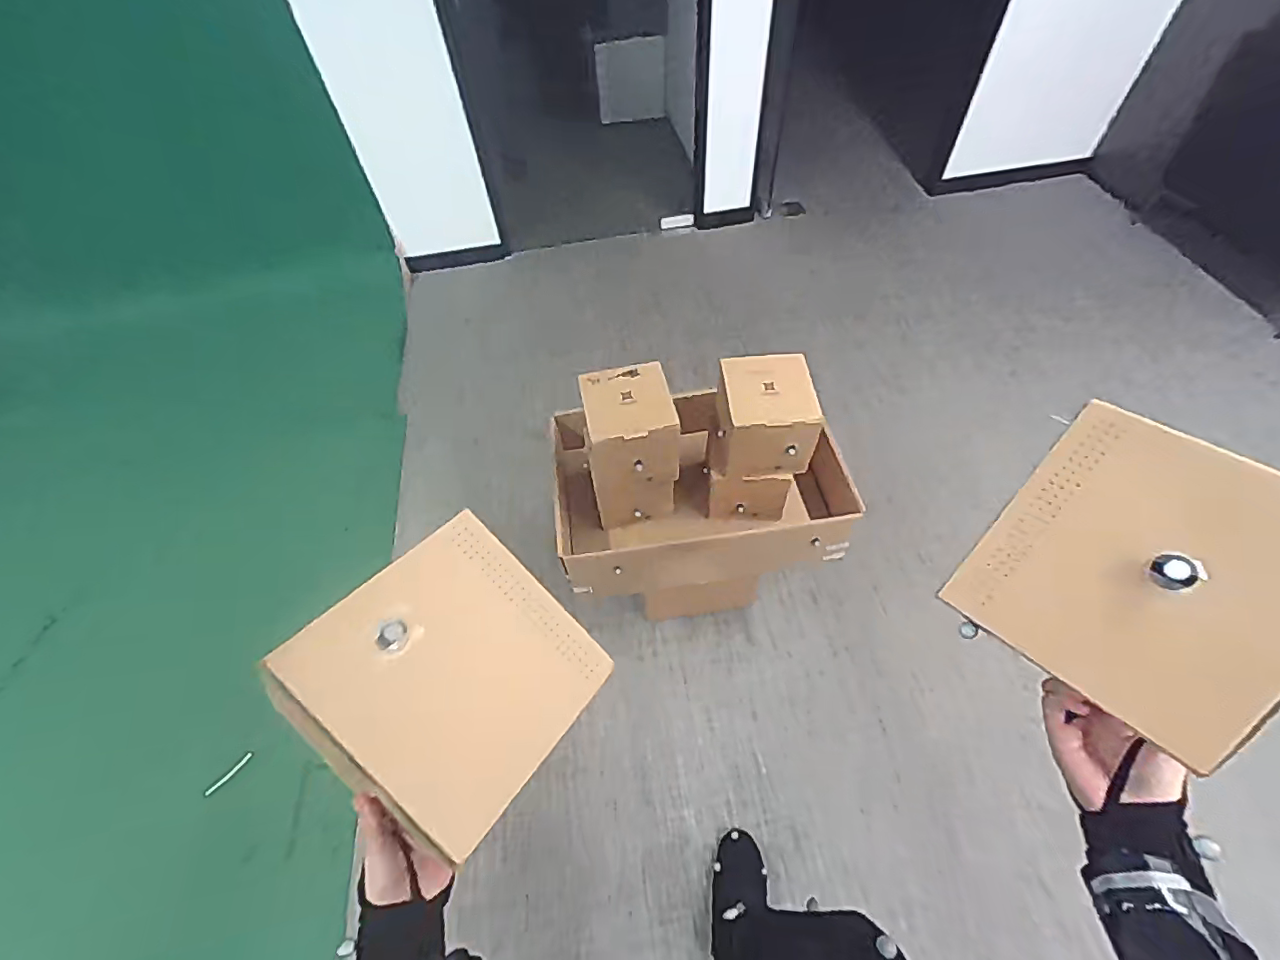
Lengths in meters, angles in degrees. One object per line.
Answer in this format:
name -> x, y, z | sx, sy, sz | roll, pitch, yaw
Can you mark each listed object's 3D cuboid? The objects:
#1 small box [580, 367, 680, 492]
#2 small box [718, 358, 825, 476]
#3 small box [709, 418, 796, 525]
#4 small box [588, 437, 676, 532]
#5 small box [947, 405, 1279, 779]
small box -> -0.017, -0.092, 1.067 | 0.168, 0.176, 0.179 | -11, 56, -4
small box -> 0.249, -0.117, 1.068 | 0.168, 0.176, 0.179 | -2, 55, 1
small box -> 0.241, -0.019, 1.200 | 0.168, 0.176, 0.179 | 0, 56, 5
small box -> -0.018, -0.009, 1.210 | 0.168, 0.176, 0.179 | -11, 55, -3
small box -> 0.355, 0.074, 0.401 | 0.176, 0.168, 0.179 | 38, 101, 35
